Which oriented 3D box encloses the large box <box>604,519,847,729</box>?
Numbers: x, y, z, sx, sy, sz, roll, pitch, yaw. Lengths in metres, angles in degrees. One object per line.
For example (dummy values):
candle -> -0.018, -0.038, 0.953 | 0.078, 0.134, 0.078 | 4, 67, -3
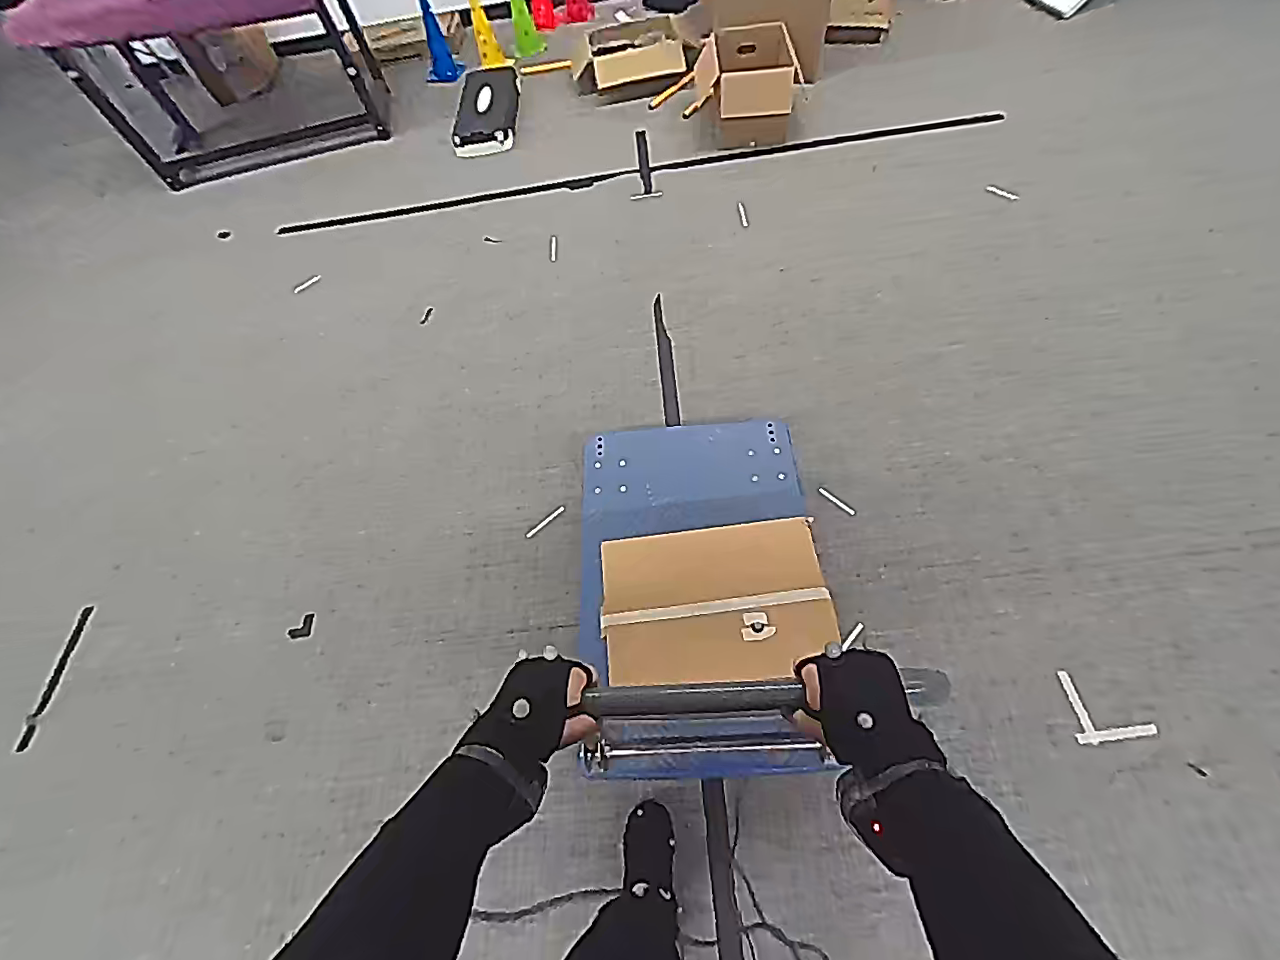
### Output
large box -> 0.153, 0.310, 1.119 | 0.408, 0.320, 0.320 | -8, 60, 2
